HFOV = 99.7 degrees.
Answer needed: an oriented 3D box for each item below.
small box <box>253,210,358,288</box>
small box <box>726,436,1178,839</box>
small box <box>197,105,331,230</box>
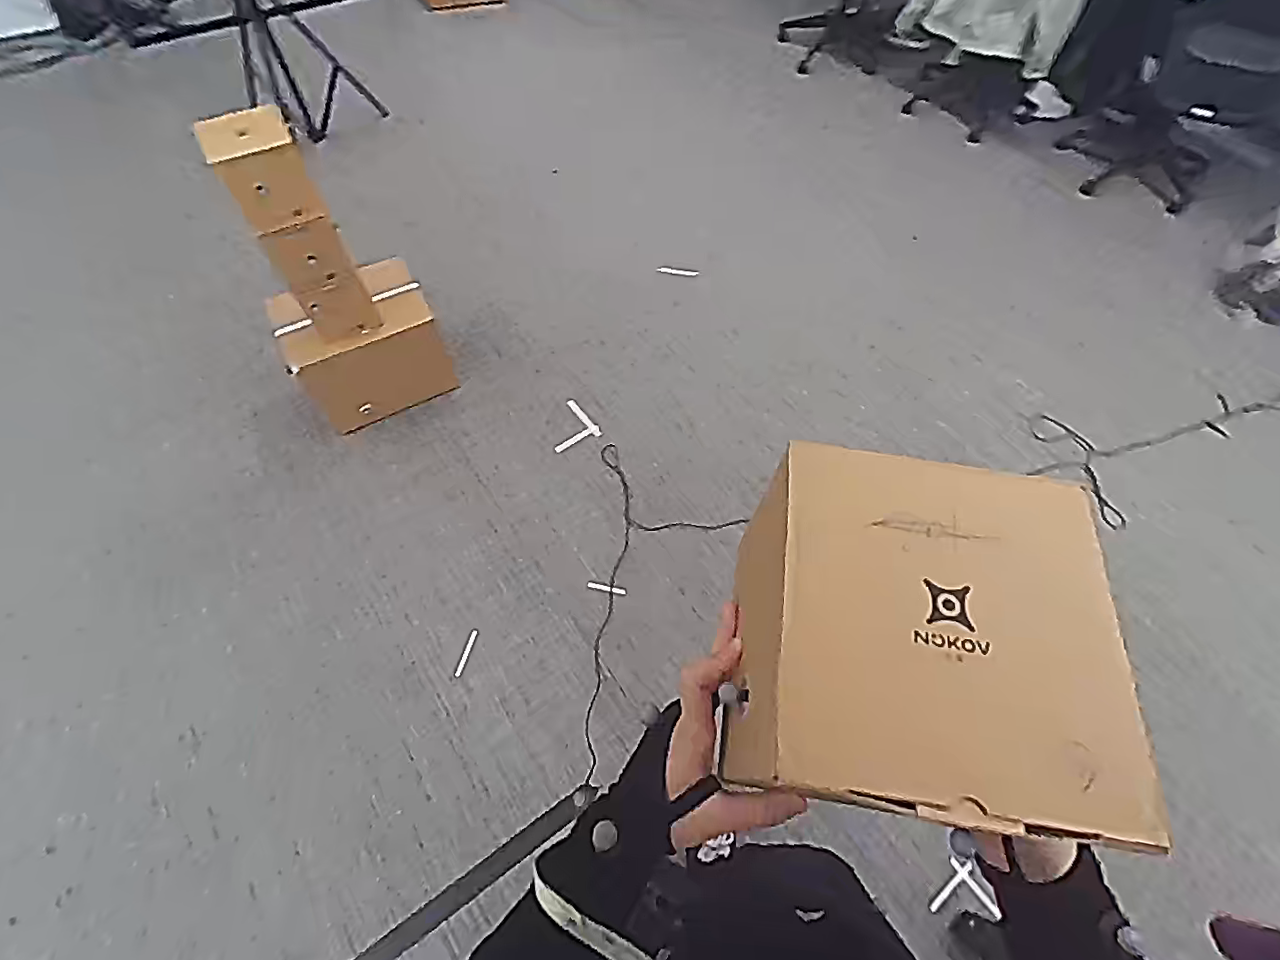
[{"bbox_3d":[-0.829,-0.600,1.336,0.168,0.176,0.179,-26,65,-16],"label":"small box"},{"bbox_3d":[0.151,0.099,0.335,0.168,0.176,0.179,8,61,2],"label":"small box"},{"bbox_3d":[-0.820,-0.680,1.194,0.168,0.176,0.179,-28,64,-17],"label":"small box"}]
